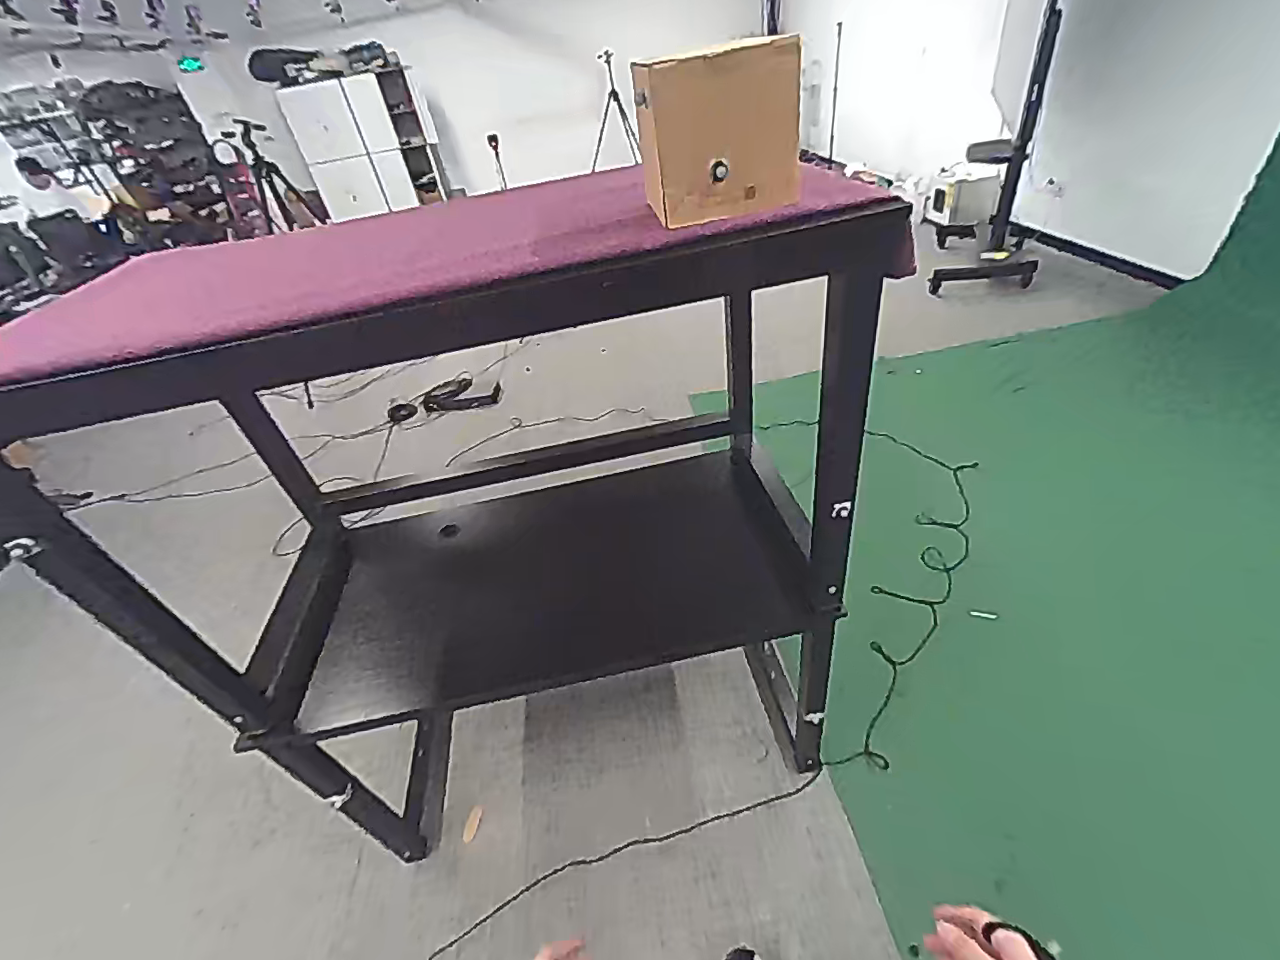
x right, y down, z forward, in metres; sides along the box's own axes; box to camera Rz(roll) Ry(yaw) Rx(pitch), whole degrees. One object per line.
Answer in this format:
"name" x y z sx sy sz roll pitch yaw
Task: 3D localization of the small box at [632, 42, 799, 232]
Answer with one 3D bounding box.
"small box" 0.089 -0.429 0.681 0.168 0.176 0.179 -12 39 0
